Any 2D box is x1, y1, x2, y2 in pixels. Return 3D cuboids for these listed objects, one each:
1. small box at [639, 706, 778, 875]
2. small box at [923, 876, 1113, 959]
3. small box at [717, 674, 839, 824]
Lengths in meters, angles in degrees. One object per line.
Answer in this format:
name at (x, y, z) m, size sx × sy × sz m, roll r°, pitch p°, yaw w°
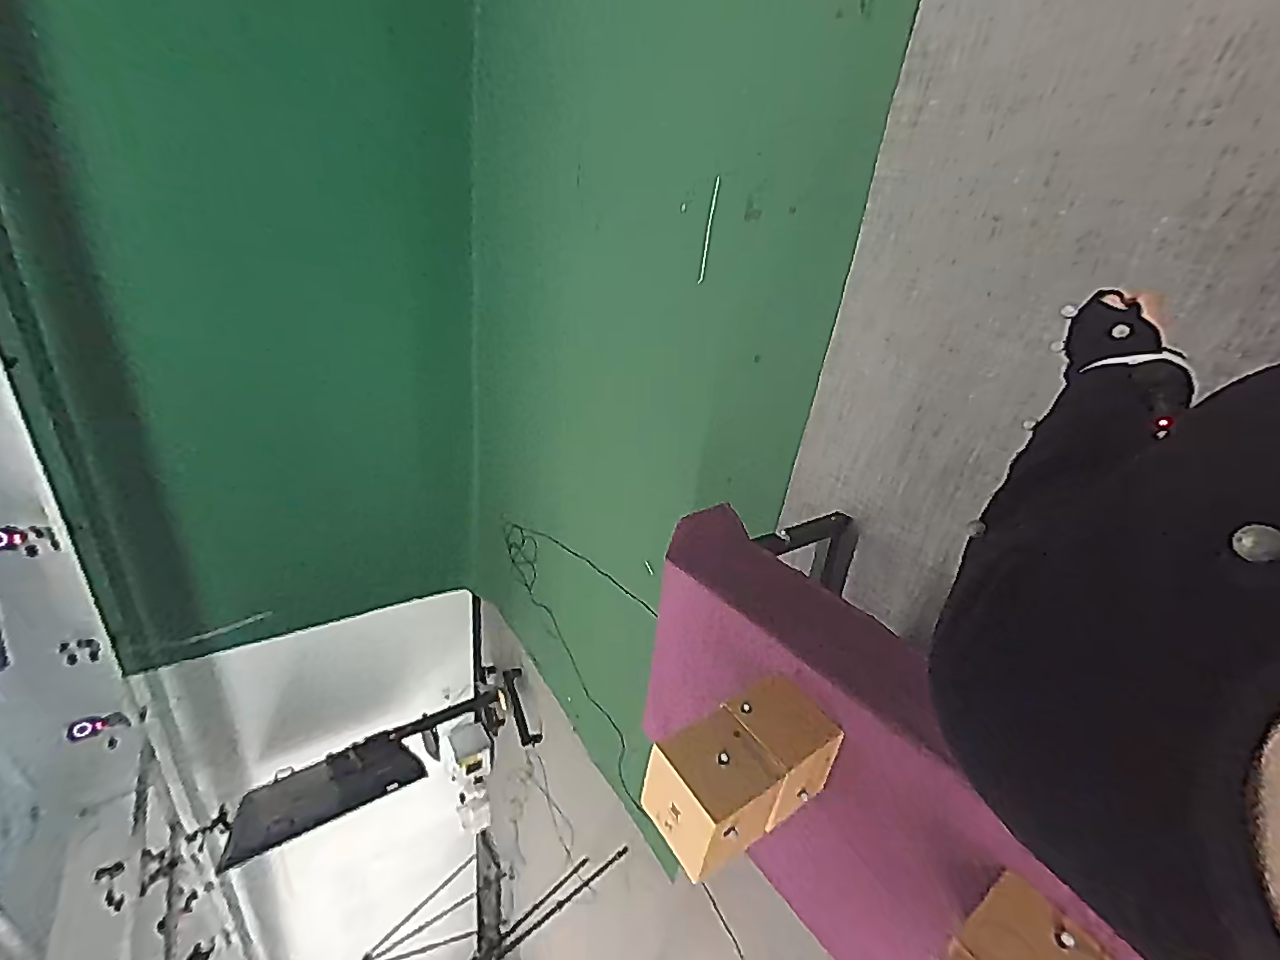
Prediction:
small box at (0.123, 0.547, 0.976) m, size 0.168 × 0.176 × 0.179 m, roll 39°, pitch 130°, yaw 44°
small box at (0.516, 0.689, 0.737) m, size 0.179 × 0.176 × 0.168 m, roll 36°, pitch 127°, yaw 46°
small box at (0.258, 0.517, 1.066) m, size 0.179 × 0.176 × 0.168 m, roll 37°, pitch 128°, yaw 46°
